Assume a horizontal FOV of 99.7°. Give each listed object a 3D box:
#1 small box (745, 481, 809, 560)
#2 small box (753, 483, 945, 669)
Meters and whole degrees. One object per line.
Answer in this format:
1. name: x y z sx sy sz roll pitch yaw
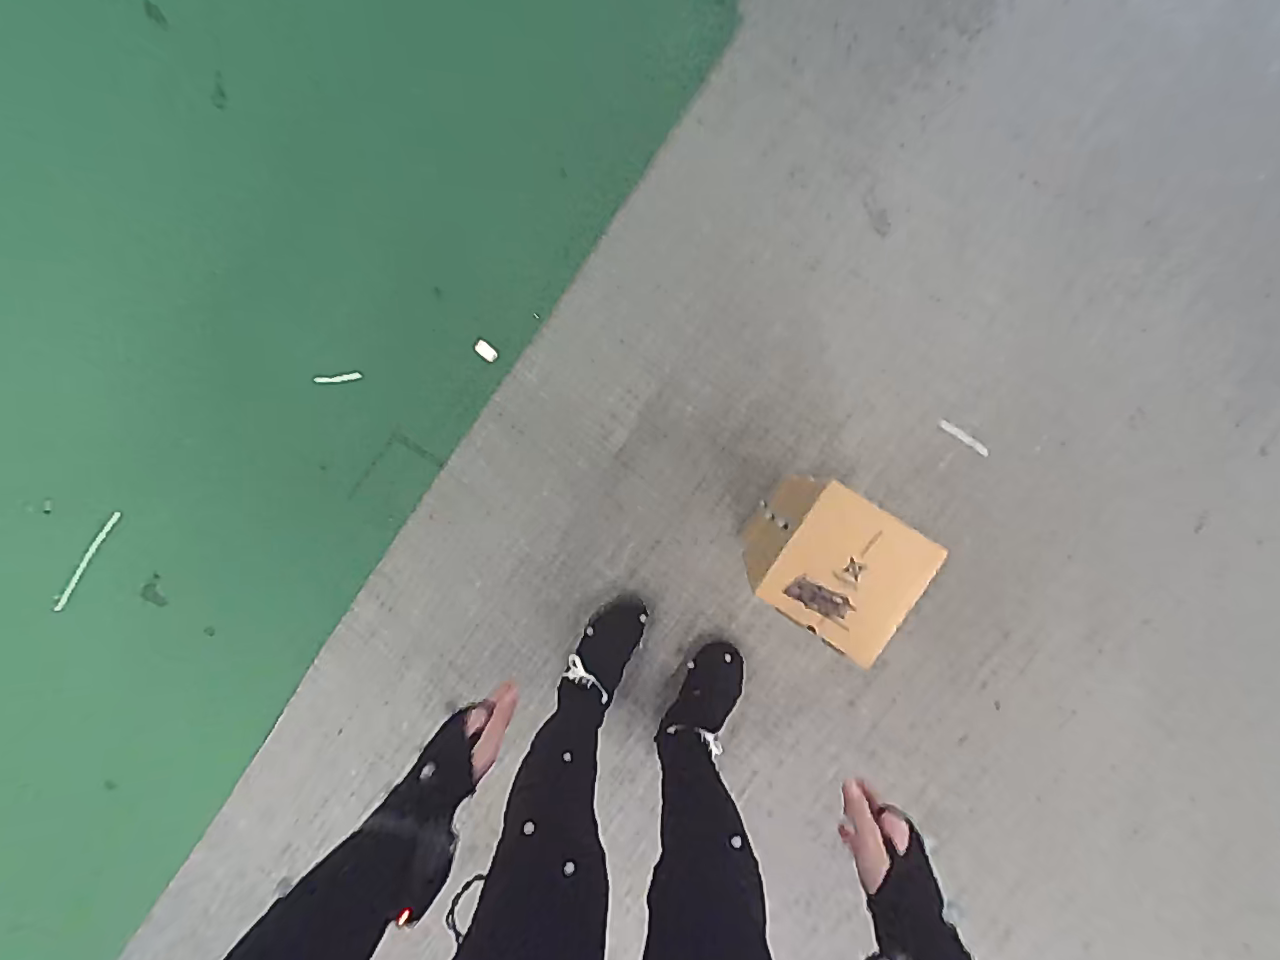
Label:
1. small box: 0.324 0.120 1.073 0.179 0.176 0.168 35 94 7
2. small box: 0.271 0.121 0.749 0.168 0.176 0.179 34 92 7
